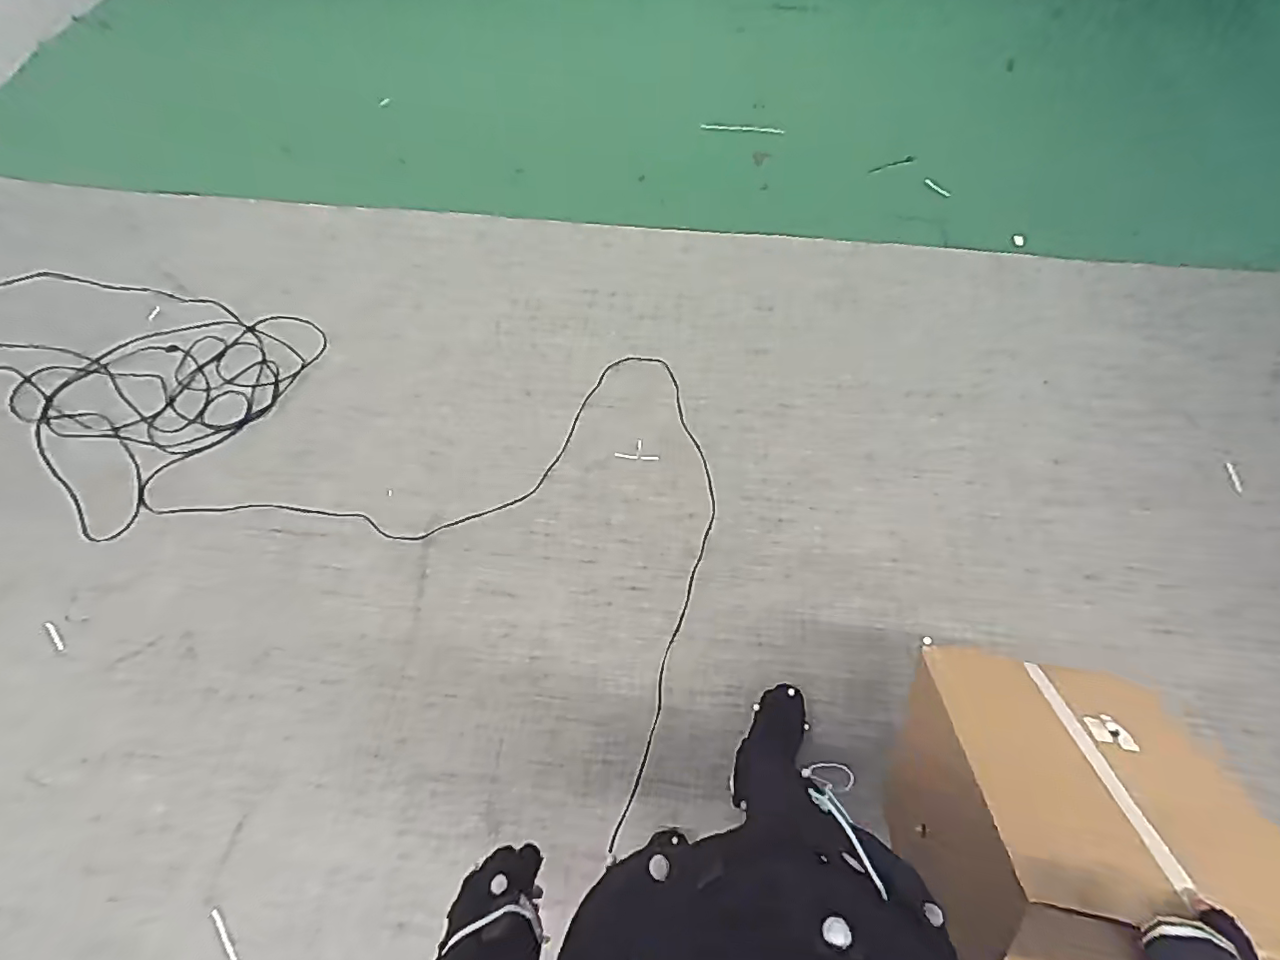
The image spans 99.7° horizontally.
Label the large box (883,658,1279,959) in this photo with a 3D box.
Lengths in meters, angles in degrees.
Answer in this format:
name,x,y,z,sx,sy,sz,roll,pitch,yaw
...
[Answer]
name,x,y,z,sx,sy,sz,roll,pitch,yaw
large box,0.549,0.507,0.711,0.320,0.320,0.408,9,19,10
